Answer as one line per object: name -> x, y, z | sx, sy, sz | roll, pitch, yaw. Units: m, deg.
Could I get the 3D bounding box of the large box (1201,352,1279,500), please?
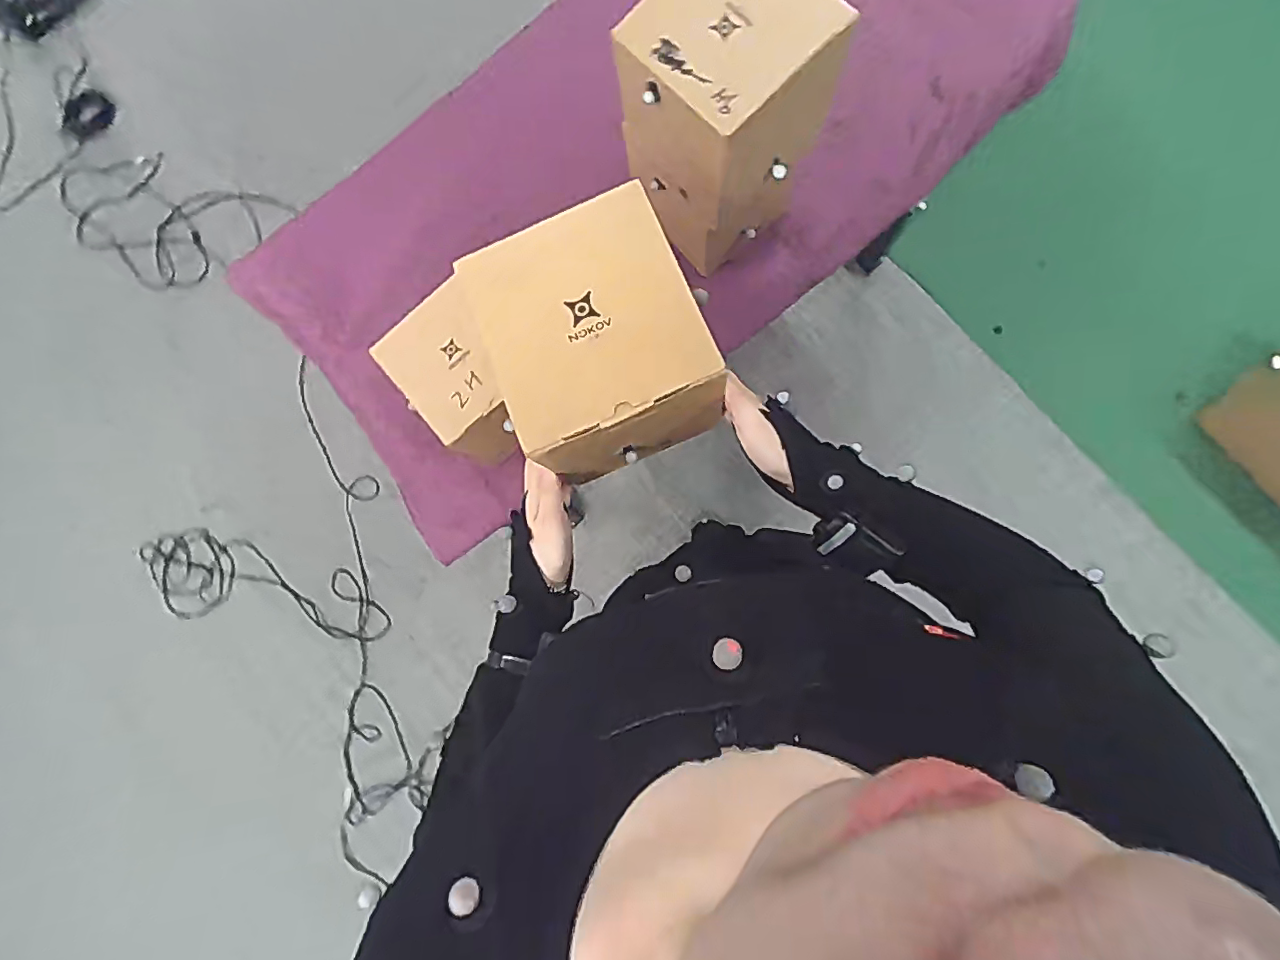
large box -> 1.672, -0.115, 1.228 | 0.320, 0.320, 0.408 | -39, 82, 1

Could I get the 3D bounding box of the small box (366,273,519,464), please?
small box -> -0.227, -0.142, 0.754 | 0.168, 0.176, 0.179 | -42, 80, 0

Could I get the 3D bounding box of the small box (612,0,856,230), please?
small box -> 0.093, -0.423, 0.591 | 0.179, 0.176, 0.168 | -43, 82, 0

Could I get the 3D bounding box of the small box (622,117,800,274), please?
small box -> 0.097, -0.430, 0.757 | 0.168, 0.176, 0.179 | -39, 82, 1

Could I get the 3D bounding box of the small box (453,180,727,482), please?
small box -> -0.035, -0.114, 0.485 | 0.168, 0.176, 0.179 | -23, 81, 3
